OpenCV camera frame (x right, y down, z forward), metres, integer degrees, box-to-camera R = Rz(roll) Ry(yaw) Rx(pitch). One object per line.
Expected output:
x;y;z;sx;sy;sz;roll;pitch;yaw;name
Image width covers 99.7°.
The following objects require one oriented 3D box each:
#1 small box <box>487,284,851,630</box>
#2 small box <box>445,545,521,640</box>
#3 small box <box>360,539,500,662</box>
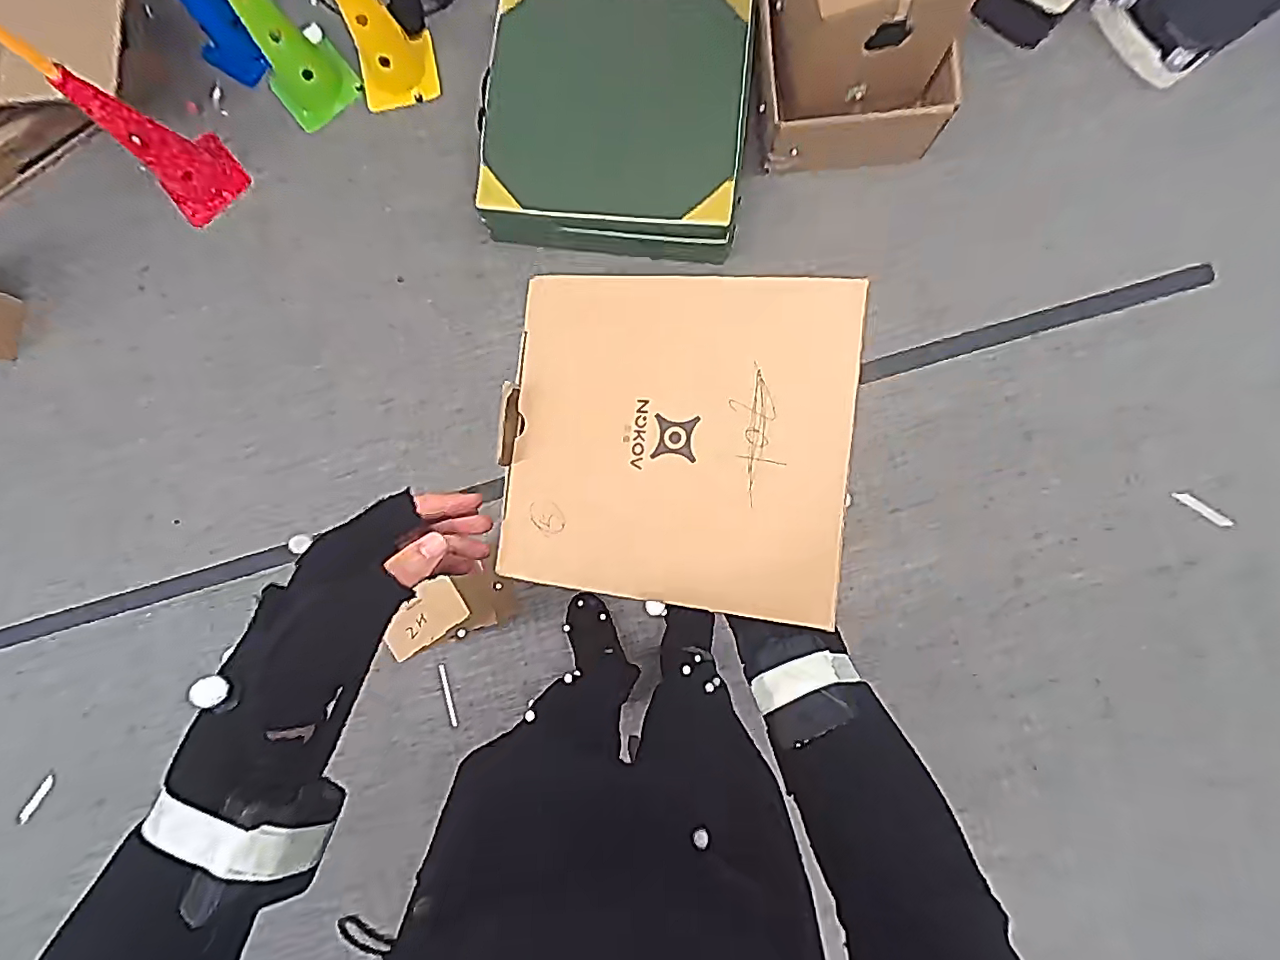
0.028;-0.014;0.354;0.179;0.176;0.168;6;89;14;small box
-0.391;0.253;1.248;0.168;0.176;0.179;-18;84;3;small box
-0.411;0.230;1.085;0.168;0.176;0.179;-31;86;3;small box
